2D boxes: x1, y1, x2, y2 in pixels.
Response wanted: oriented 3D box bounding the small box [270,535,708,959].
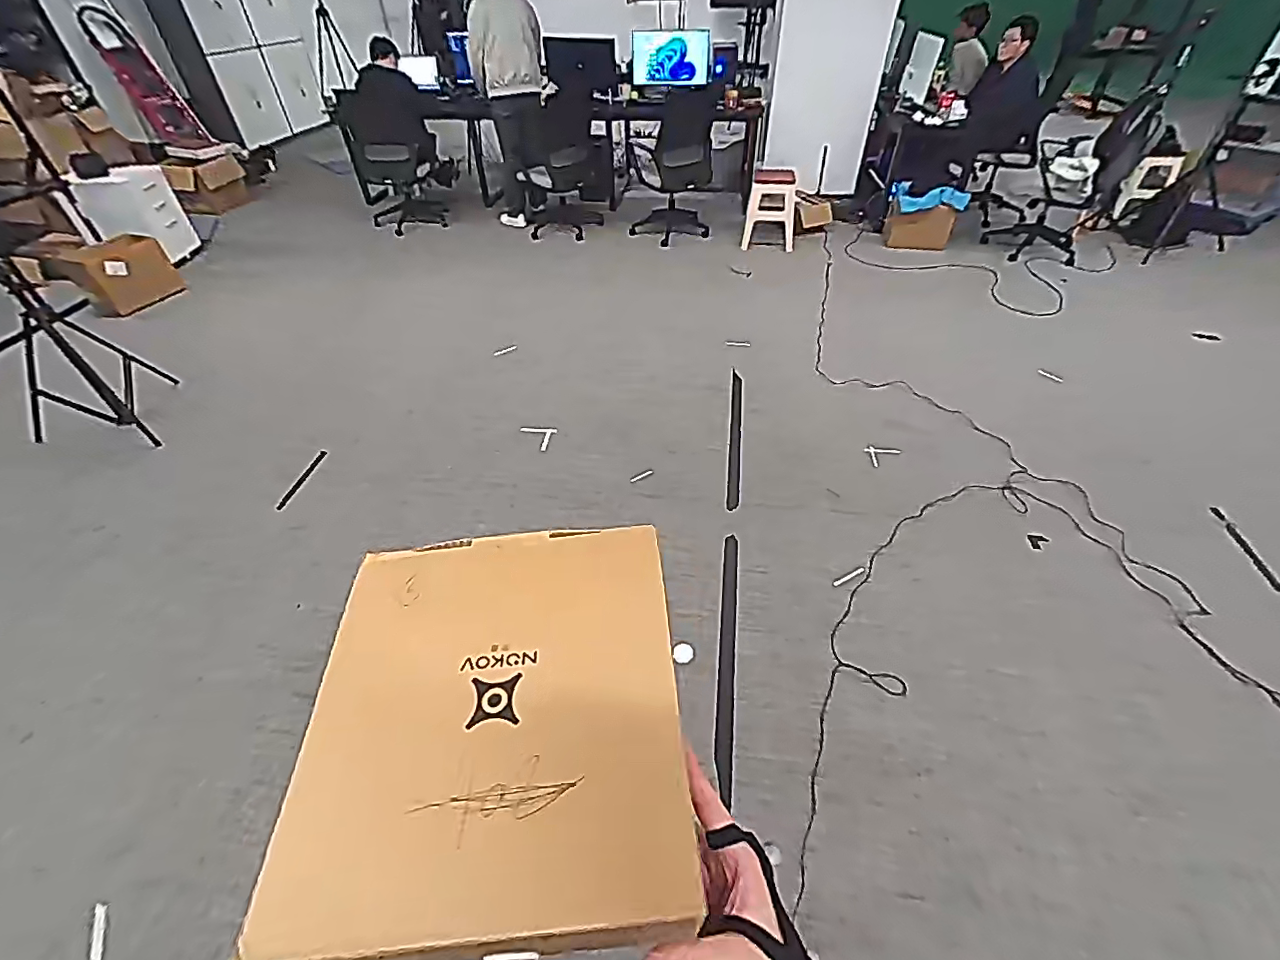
[{"bbox_3d":[-0.059,0.157,0.314,0.168,0.176,0.179,-7,48,-1],"label":"small box"}]
